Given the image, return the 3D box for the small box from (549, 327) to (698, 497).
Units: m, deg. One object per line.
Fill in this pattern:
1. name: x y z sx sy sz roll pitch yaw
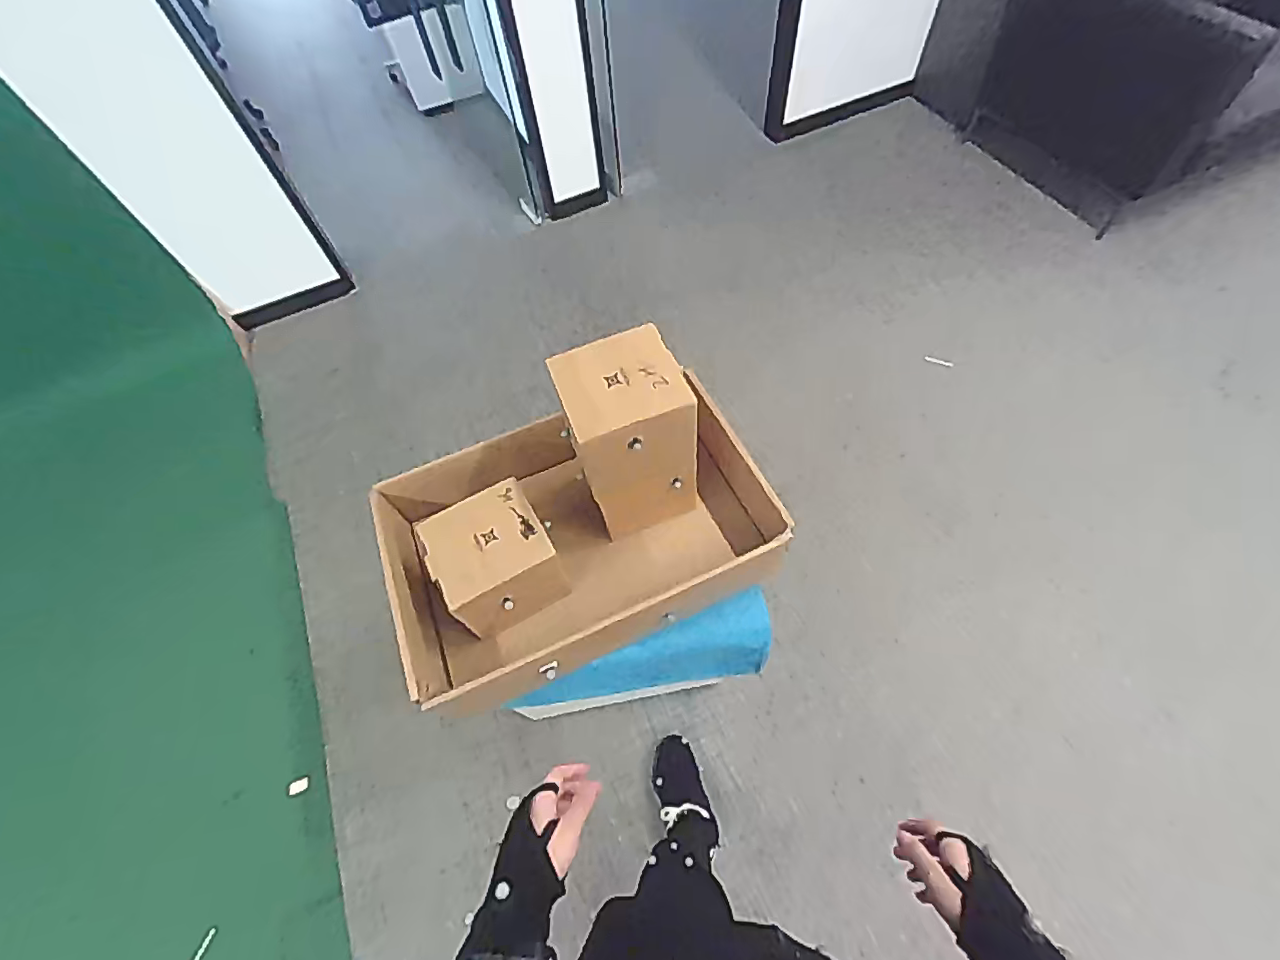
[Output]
1. small box: -0.020 -0.097 0.833 0.179 0.176 0.168 -20 61 -7
